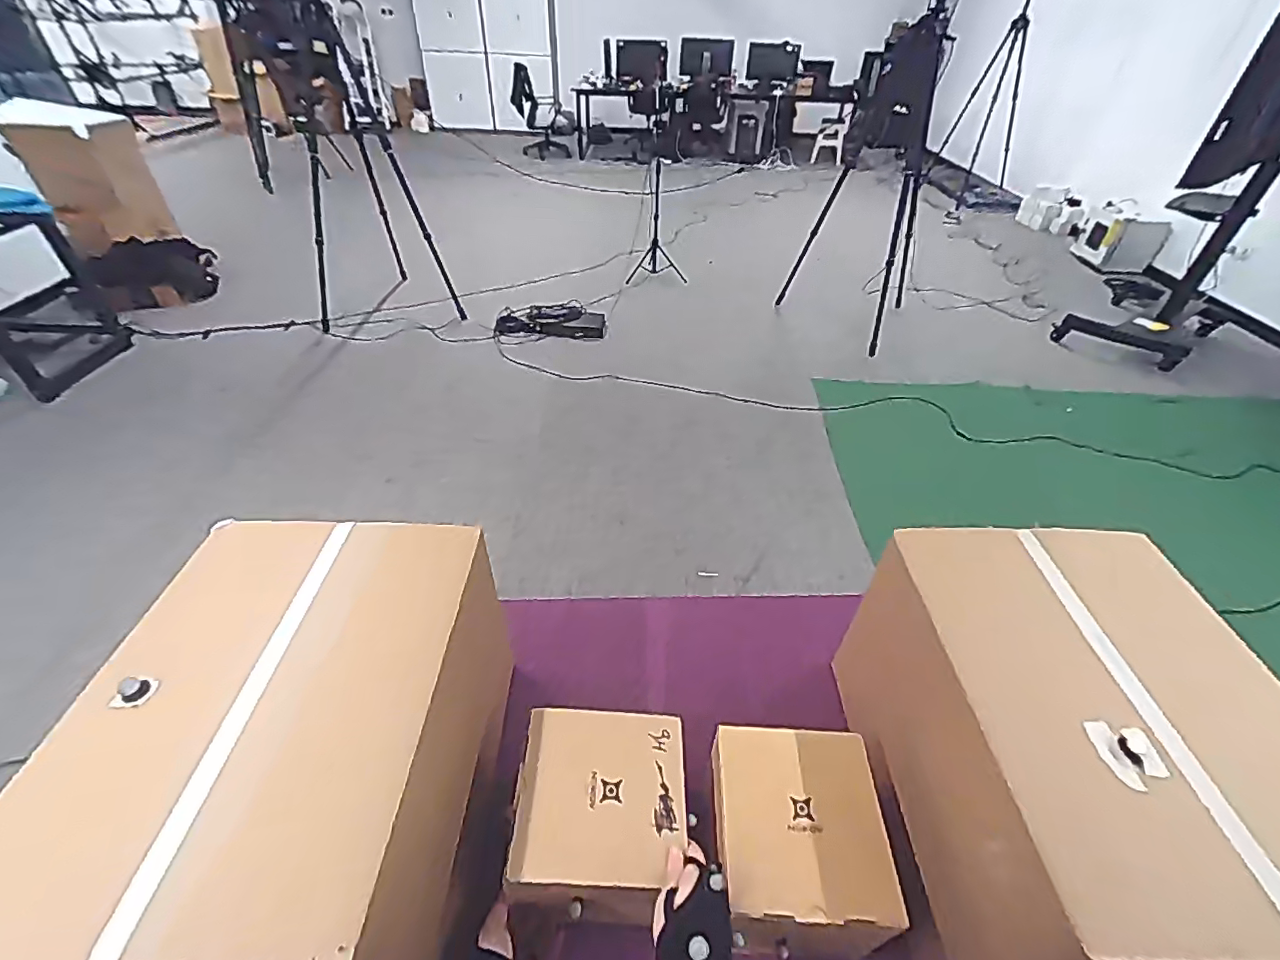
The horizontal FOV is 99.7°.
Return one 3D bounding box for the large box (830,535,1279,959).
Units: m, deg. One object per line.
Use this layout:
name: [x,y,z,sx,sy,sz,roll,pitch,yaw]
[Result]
large box: [0.457,0.317,0.625,0.320,0.320,0.408,2,42,0]
